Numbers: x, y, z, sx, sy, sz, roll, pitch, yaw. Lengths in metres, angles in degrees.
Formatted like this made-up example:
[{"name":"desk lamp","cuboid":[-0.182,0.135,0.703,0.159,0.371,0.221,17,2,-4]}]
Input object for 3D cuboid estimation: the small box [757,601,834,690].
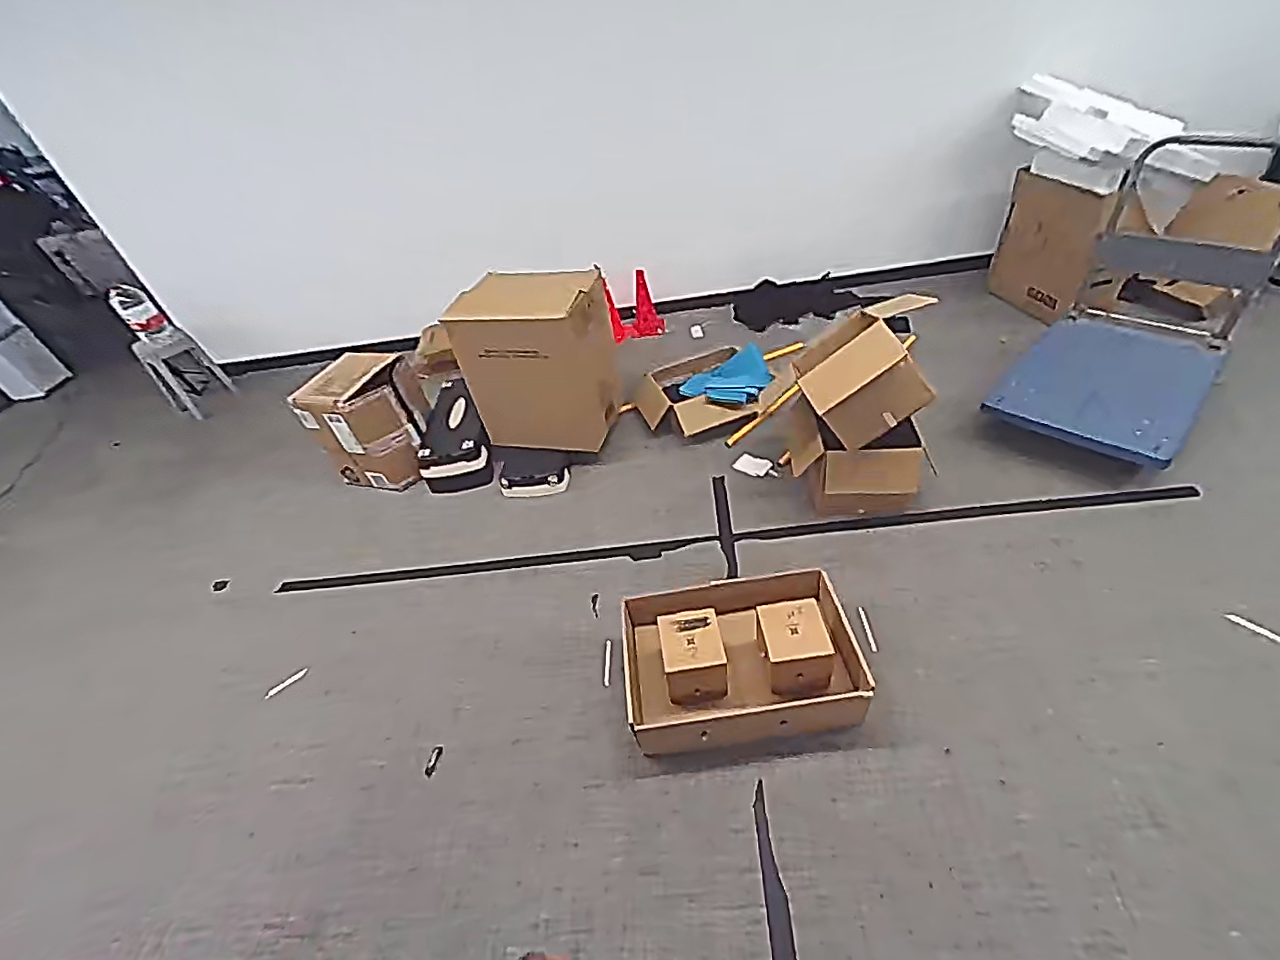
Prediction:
[{"name":"small box","cuboid":[0.425,0.462,1.492,0.168,0.176,0.179,-9,41,3]}]
